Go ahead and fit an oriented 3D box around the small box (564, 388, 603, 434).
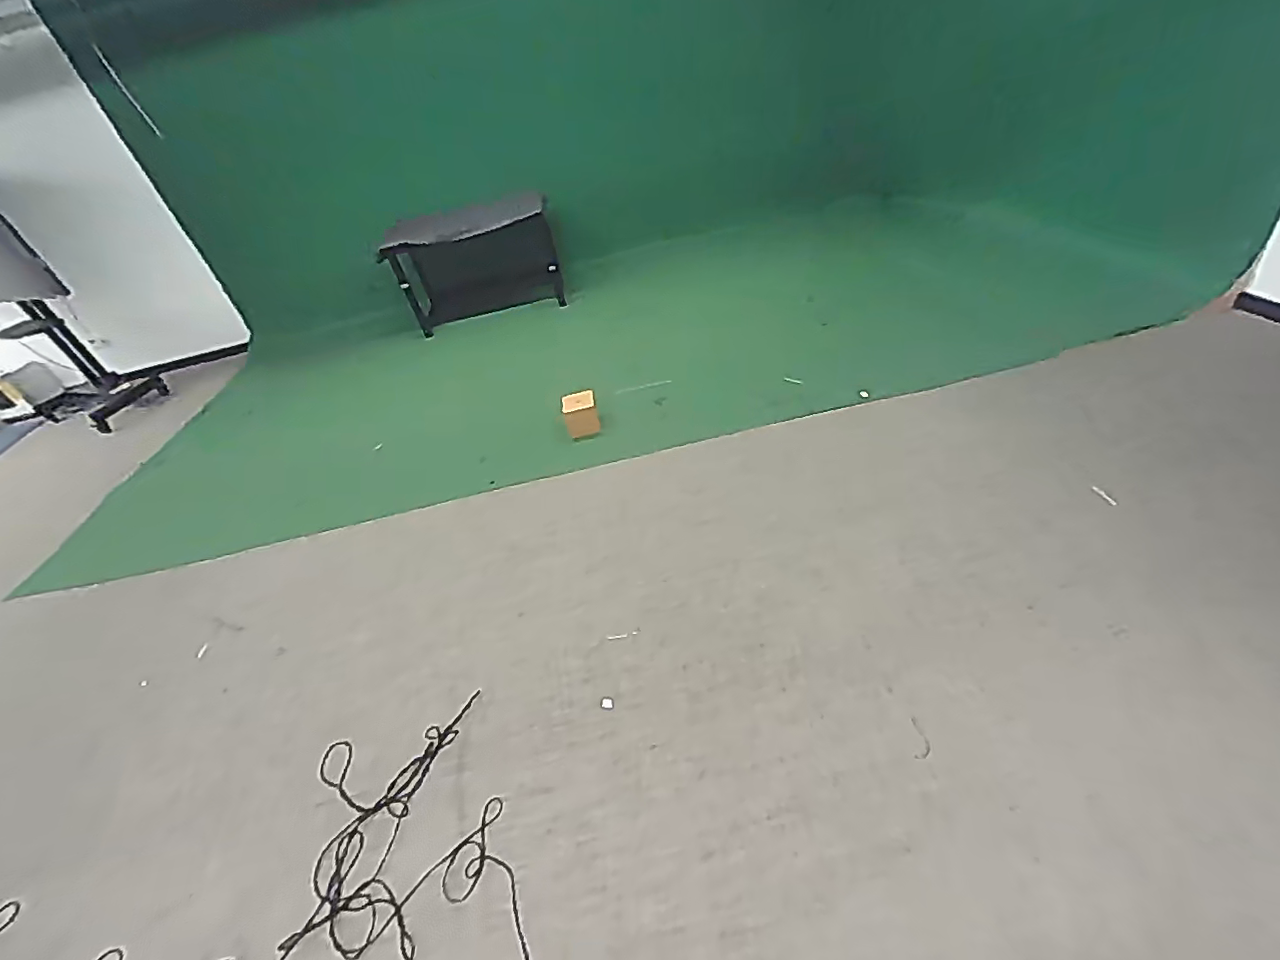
[{"bbox_3d":[-0.298,-0.357,2.858,0.168,0.176,0.179,-14,38,1],"label":"small box"}]
